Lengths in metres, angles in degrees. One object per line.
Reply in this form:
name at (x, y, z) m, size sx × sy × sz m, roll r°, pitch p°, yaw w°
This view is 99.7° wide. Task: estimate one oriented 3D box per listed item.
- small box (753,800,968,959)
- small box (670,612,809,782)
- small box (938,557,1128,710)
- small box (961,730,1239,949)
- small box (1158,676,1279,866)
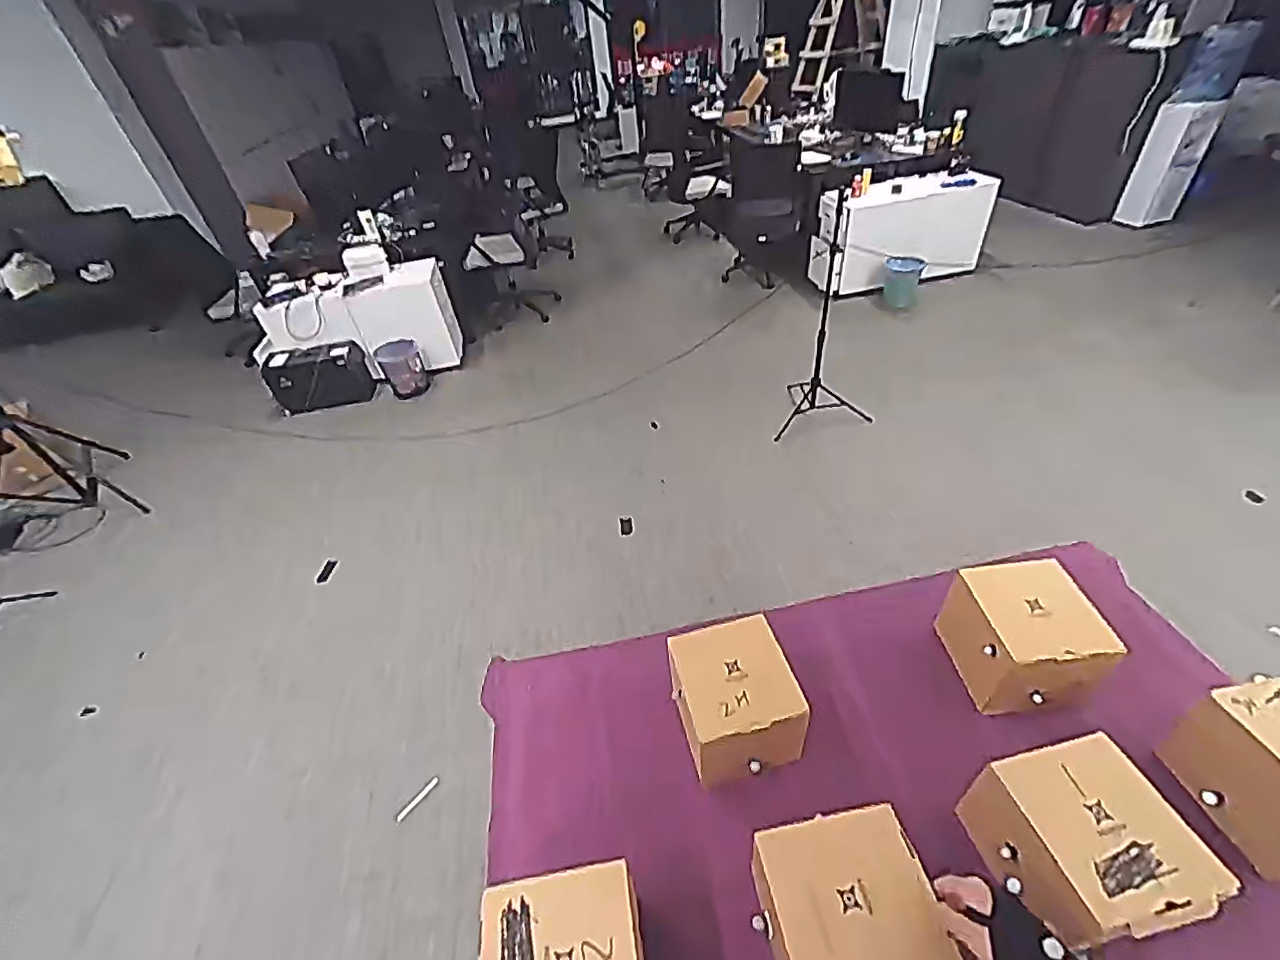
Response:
small box at (0.246, 0.518, 0.651) m, size 0.179 × 0.176 × 0.168 m, roll -10°, pitch 40°, yaw -3°
small box at (0.151, 0.347, 0.869) m, size 0.168 × 0.176 × 0.179 m, roll -13°, pitch 41°, yaw -6°
small box at (0.629, 0.255, 0.897) m, size 0.168 × 0.176 × 0.179 m, roll -7°, pitch 42°, yaw 2°
small box at (0.546, 0.452, 0.677) m, size 0.168 × 0.176 × 0.179 m, roll -12°, pitch 40°, yaw -4°
small box at (0.859, 0.379, 0.706) m, size 0.168 × 0.176 × 0.179 m, roll -10°, pitch 39°, yaw -1°
